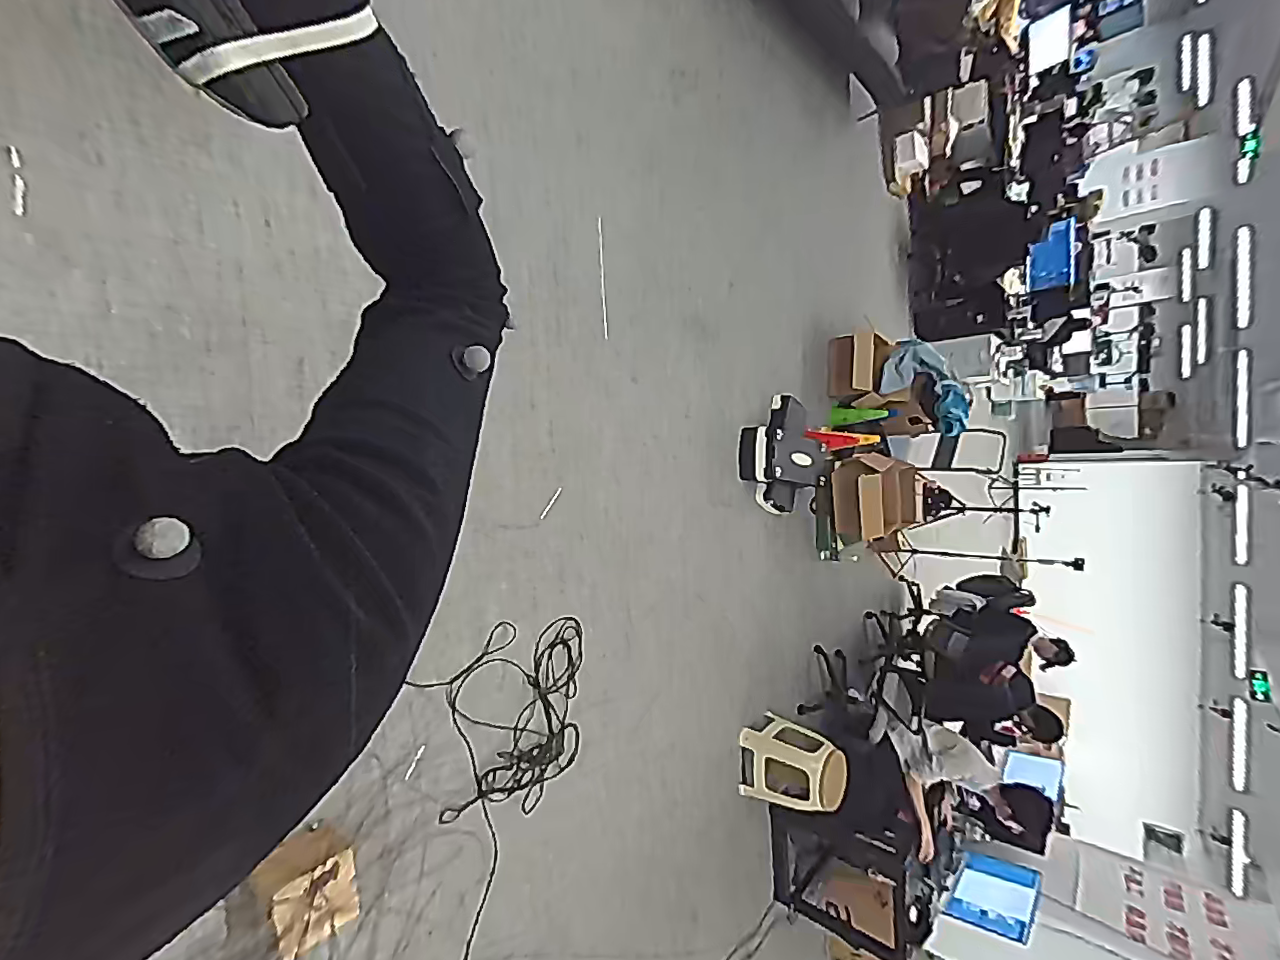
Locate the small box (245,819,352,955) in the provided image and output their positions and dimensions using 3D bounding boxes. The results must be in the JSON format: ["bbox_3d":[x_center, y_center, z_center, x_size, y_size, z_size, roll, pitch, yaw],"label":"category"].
[{"bbox_3d":[-0.809,0.942,1.280,0.168,0.176,0.179,-10,99,-49],"label":"small box"}]
